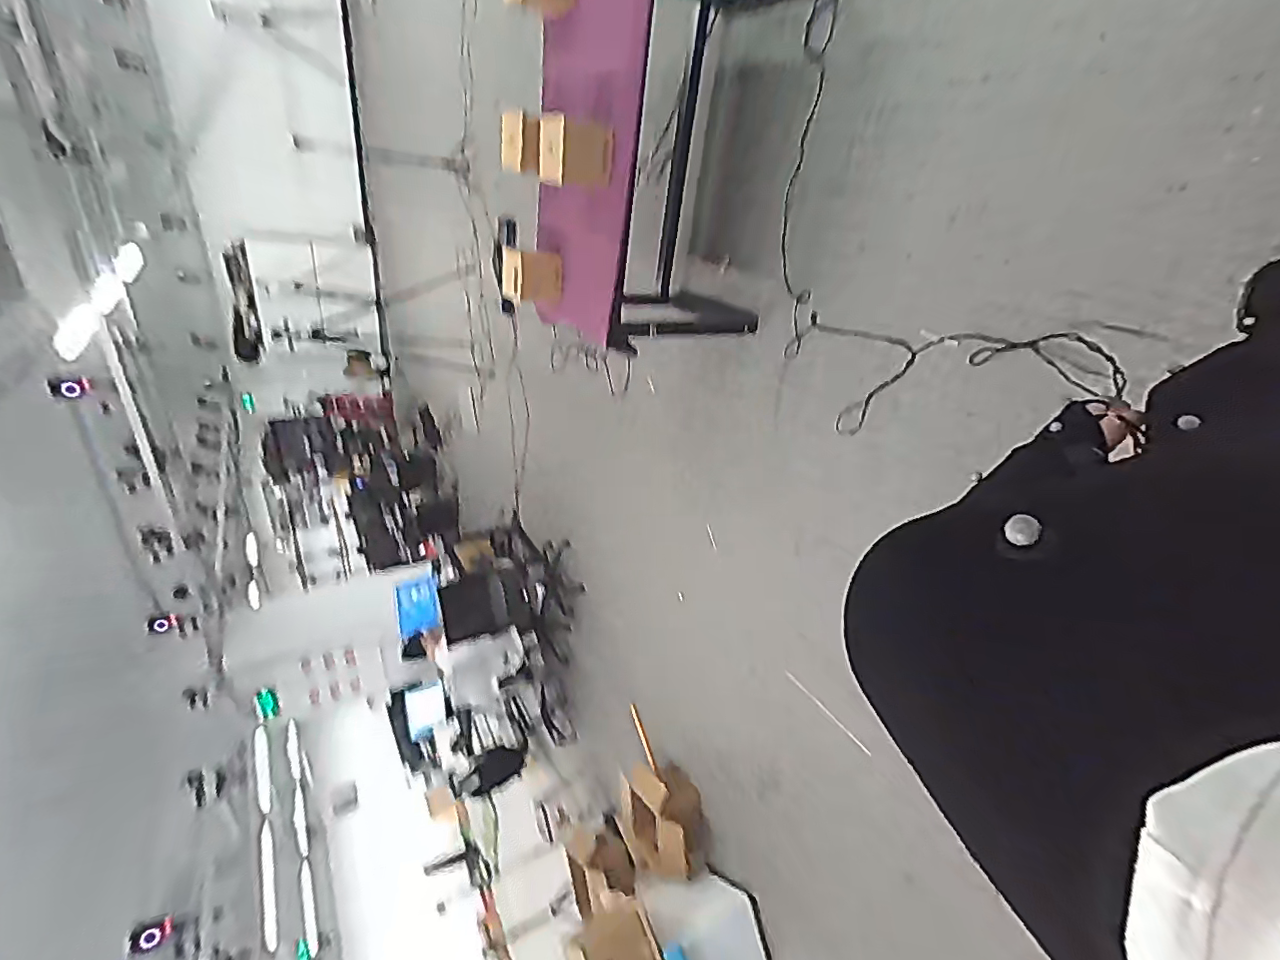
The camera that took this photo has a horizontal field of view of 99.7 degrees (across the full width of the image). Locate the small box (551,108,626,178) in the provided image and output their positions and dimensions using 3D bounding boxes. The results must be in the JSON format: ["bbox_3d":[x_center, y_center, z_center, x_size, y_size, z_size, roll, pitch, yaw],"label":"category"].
[{"bbox_3d":[-0.160,-1.034,1.661,0.179,0.176,0.168,44,136,46],"label":"small box"}]

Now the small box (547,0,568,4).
[{"bbox_3d":[-0.278,-1.595,1.659,0.179,0.176,0.168,41,136,46],"label":"small box"}]

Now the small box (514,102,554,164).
[{"bbox_3d":[-0.326,-1.203,1.886,0.179,0.176,0.168,43,134,42],"label":"small box"}]
